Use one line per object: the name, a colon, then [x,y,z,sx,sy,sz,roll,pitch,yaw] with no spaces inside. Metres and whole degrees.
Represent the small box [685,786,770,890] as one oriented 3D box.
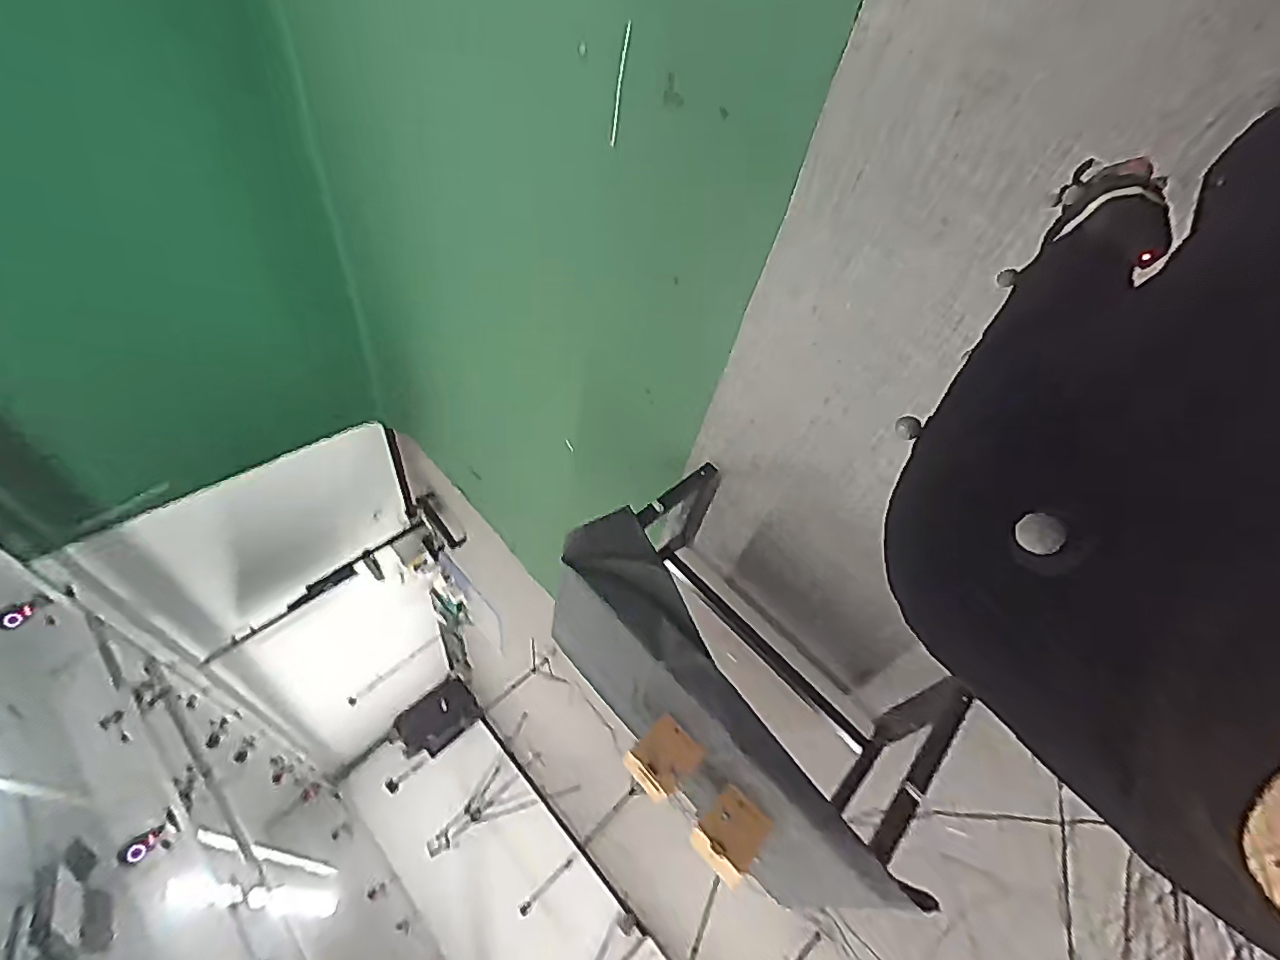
small box: [0.253,1.030,1.565,0.168,0.176,0.179,37,144,31]
